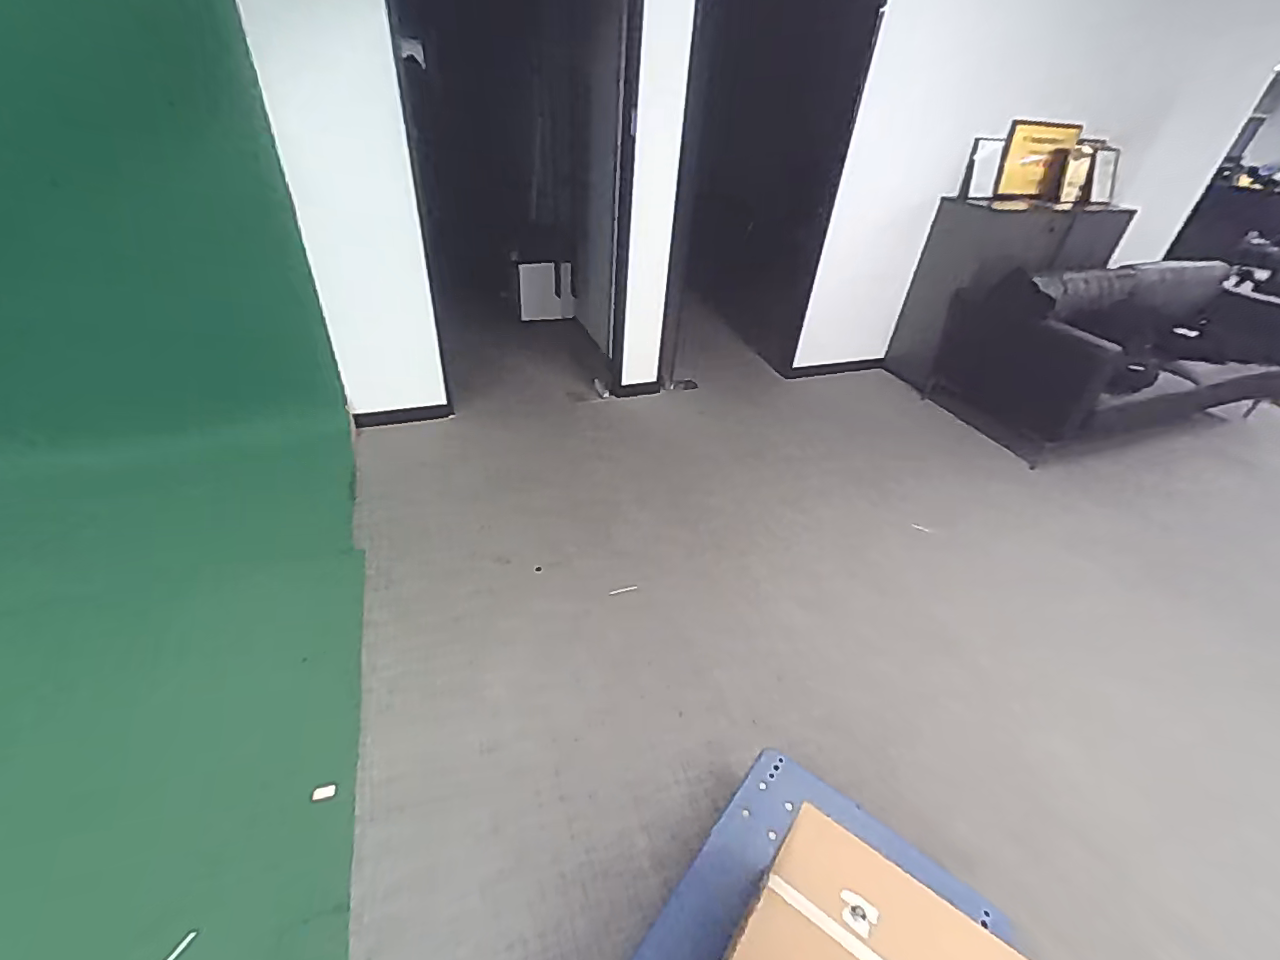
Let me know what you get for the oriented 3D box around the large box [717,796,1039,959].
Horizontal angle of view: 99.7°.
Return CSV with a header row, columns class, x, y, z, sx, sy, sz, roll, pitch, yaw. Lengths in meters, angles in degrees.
class,x,y,z,sx,sy,sz,roll,pitch,yaw
large box,0.363,0.850,0.909,0.408,0.320,0.320,26,42,27
